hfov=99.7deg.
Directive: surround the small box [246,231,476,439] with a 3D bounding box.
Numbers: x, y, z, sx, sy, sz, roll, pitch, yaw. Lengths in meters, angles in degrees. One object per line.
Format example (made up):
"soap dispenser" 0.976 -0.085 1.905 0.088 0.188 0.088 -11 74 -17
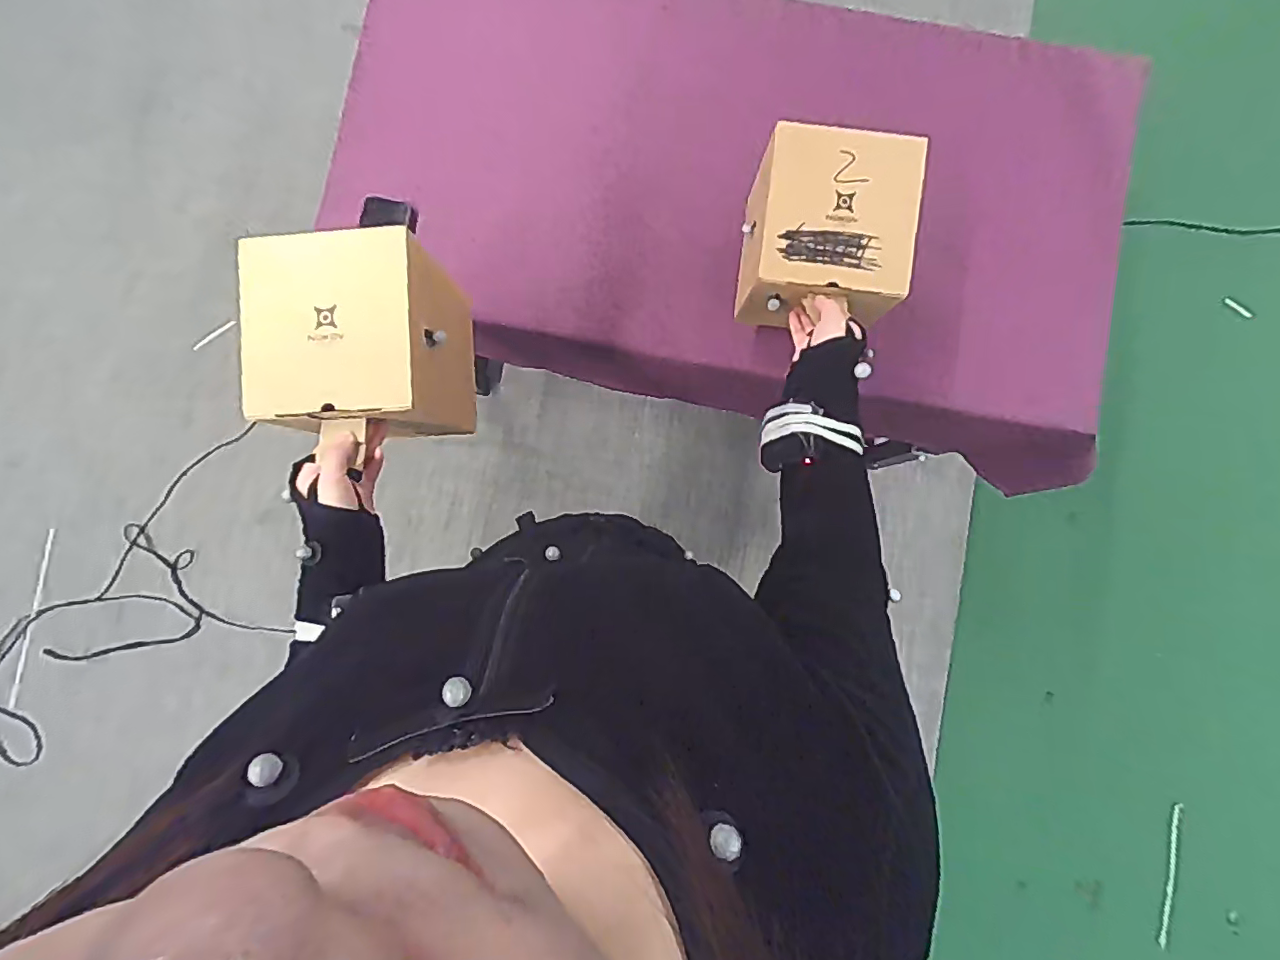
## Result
"small box" -0.285 -0.143 0.586 0.168 0.176 0.179 -2 88 2
